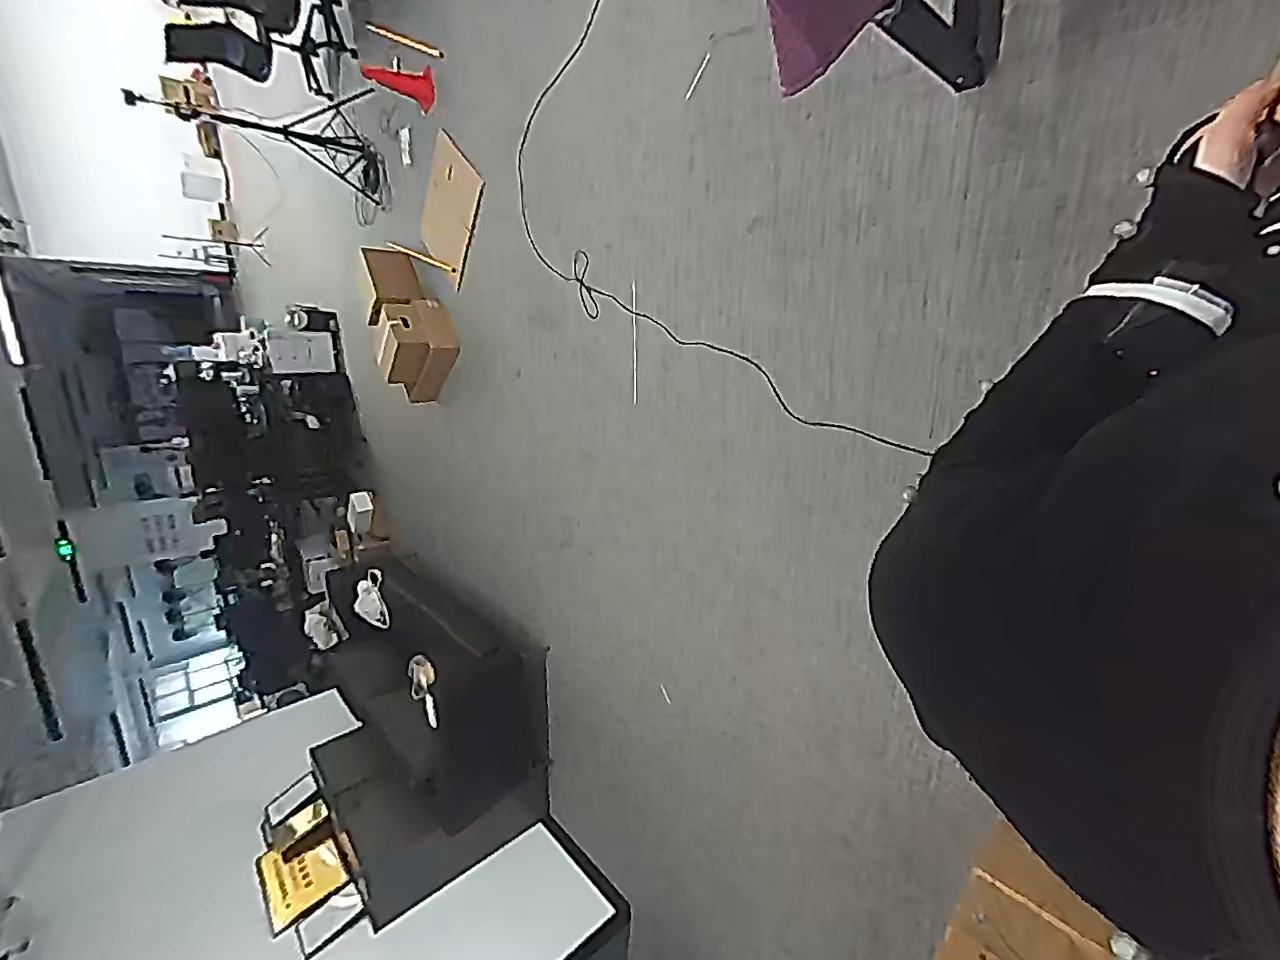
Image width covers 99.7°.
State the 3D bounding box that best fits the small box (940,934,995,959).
[{"bbox_3d":[0.636,1.034,1.021,0.168,0.176,0.179,22,116,45],"label":"small box"}]
